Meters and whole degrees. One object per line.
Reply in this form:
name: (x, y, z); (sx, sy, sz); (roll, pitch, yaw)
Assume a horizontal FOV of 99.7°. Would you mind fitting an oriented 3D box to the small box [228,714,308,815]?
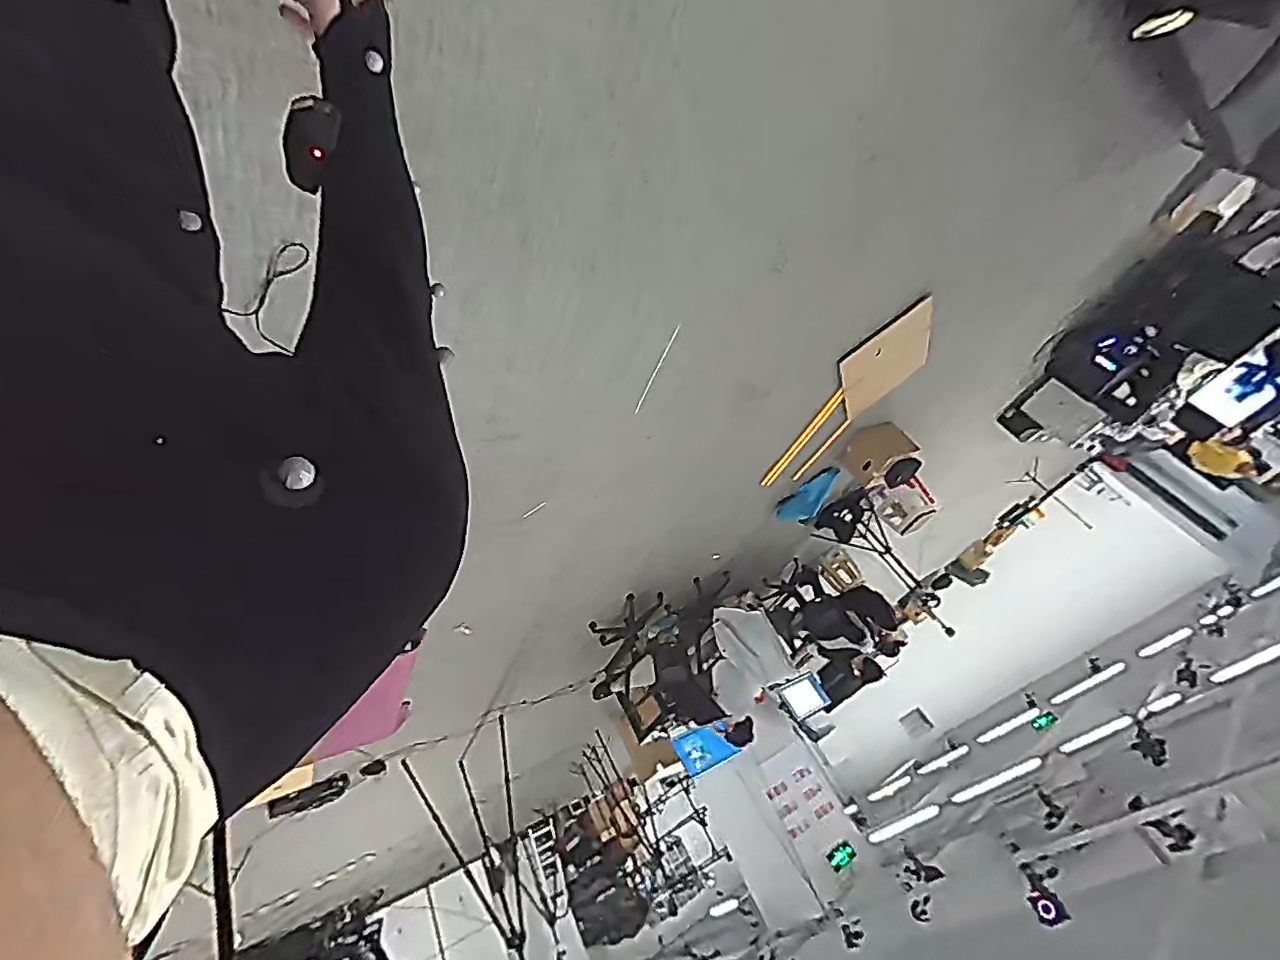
small box: (-1.034, 0.782, 1.500); (0.168, 0.176, 0.179); (-5, 139, -39)
